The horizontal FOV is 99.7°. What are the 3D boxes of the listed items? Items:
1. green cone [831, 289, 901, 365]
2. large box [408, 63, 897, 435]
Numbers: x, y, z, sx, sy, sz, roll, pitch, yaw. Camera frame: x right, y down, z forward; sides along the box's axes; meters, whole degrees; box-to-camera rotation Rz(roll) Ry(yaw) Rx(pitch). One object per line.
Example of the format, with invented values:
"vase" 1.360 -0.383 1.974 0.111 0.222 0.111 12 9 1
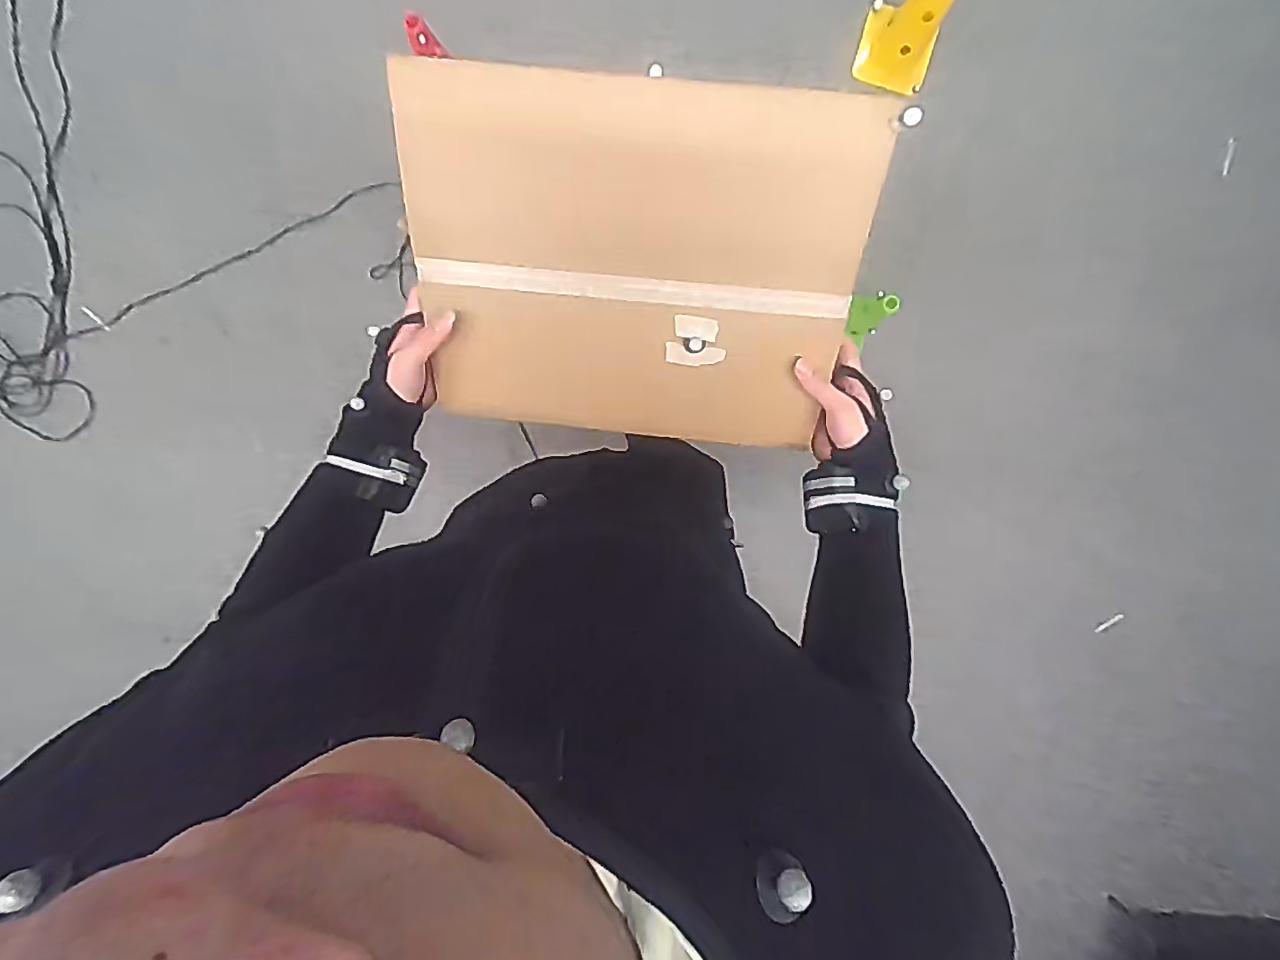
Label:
"green cone" 0.569 -0.429 1.405 0.200 0.368 0.202 11 96 -4
"large box" 0.007 -0.270 0.638 0.408 0.320 0.320 5 124 1
